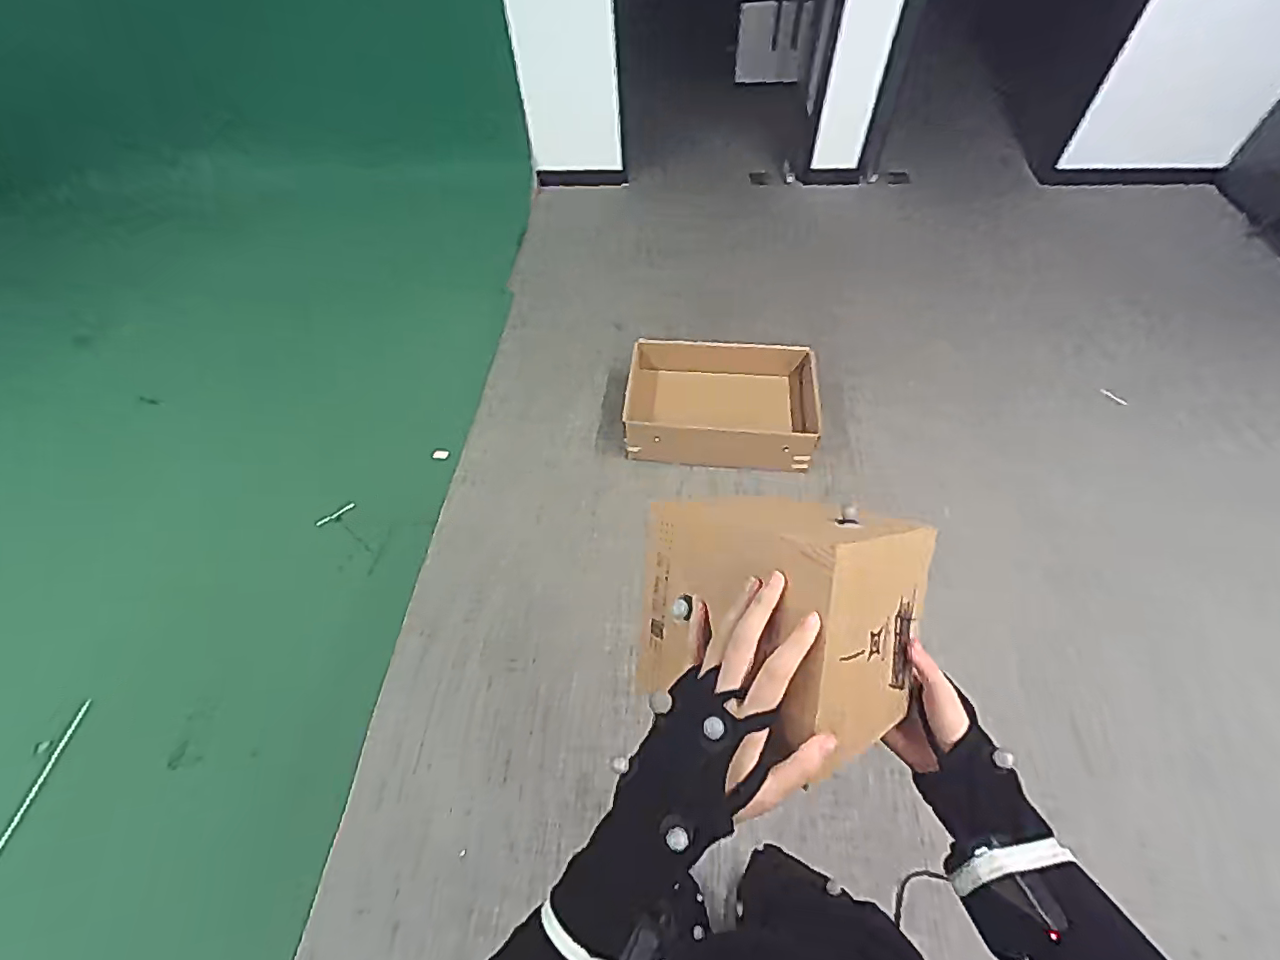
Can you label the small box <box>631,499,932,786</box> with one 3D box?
[{"bbox_3d":[0.117,0.109,0.459,0.179,0.168,0.176,0,7,-42],"label":"small box"}]
